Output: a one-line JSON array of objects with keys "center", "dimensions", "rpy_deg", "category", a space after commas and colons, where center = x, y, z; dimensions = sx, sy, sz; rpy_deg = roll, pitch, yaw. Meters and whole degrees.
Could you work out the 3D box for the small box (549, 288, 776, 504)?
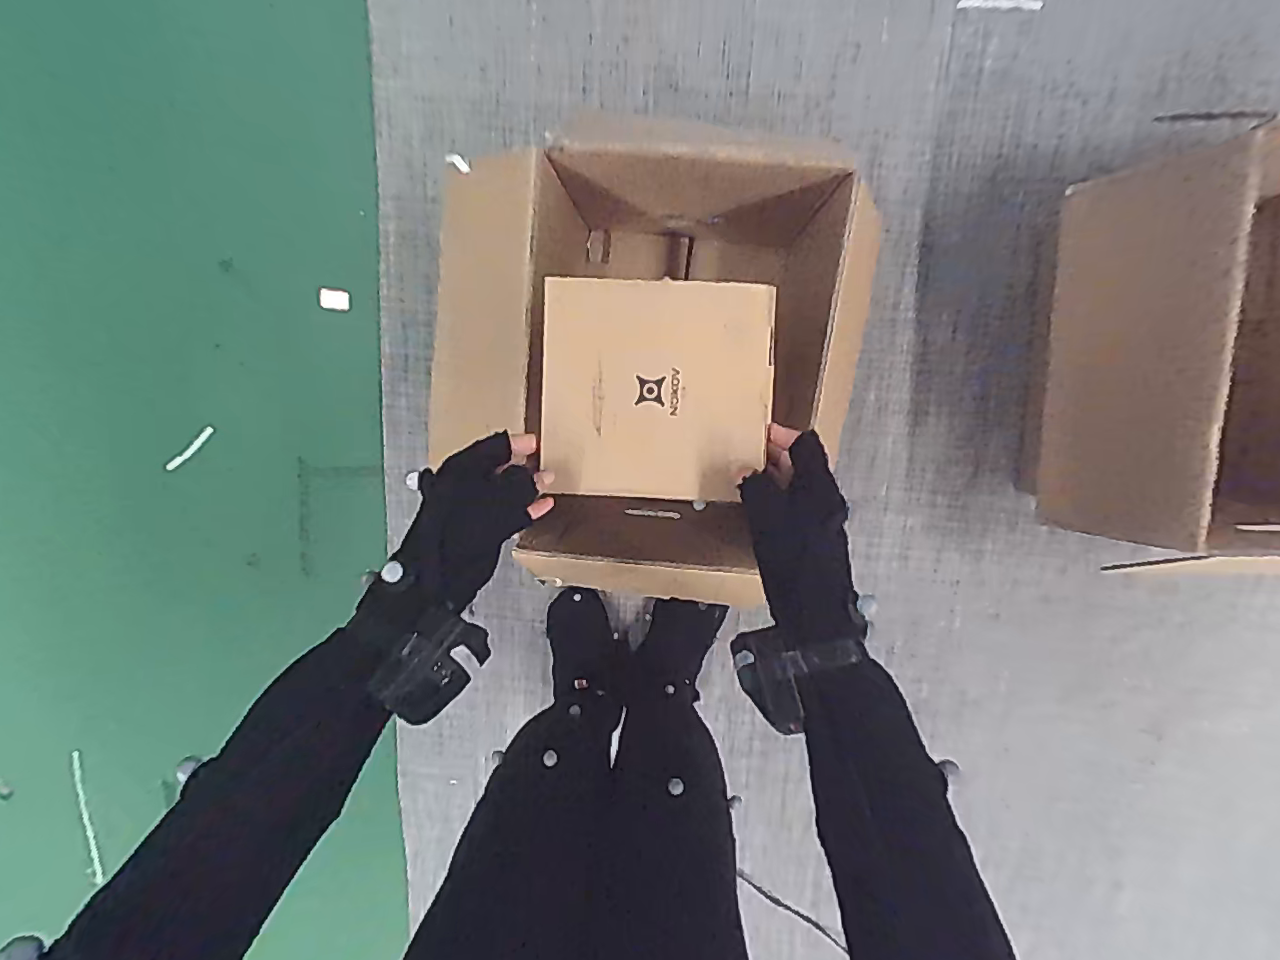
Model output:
[{"center": [0.018, -0.070, 0.509], "dimensions": [0.179, 0.176, 0.168], "rpy_deg": [3, 92, 1], "category": "small box"}]
